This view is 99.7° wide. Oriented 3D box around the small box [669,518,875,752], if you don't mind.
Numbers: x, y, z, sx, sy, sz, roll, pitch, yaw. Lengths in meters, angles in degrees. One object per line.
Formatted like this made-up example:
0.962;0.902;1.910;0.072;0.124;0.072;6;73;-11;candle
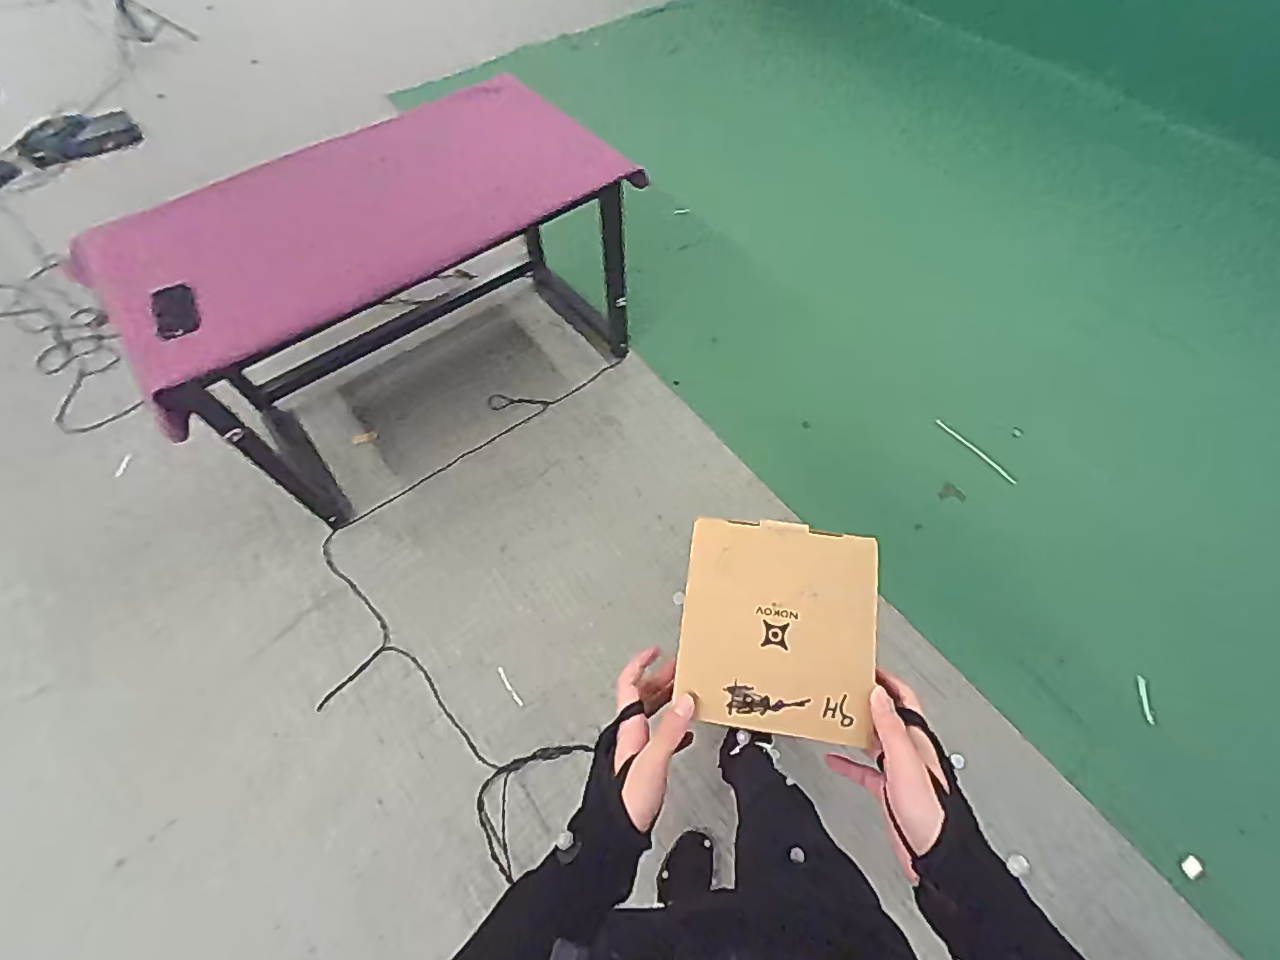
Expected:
0.122;0.151;0.540;0.168;0.176;0.179;6;73;8;small box
